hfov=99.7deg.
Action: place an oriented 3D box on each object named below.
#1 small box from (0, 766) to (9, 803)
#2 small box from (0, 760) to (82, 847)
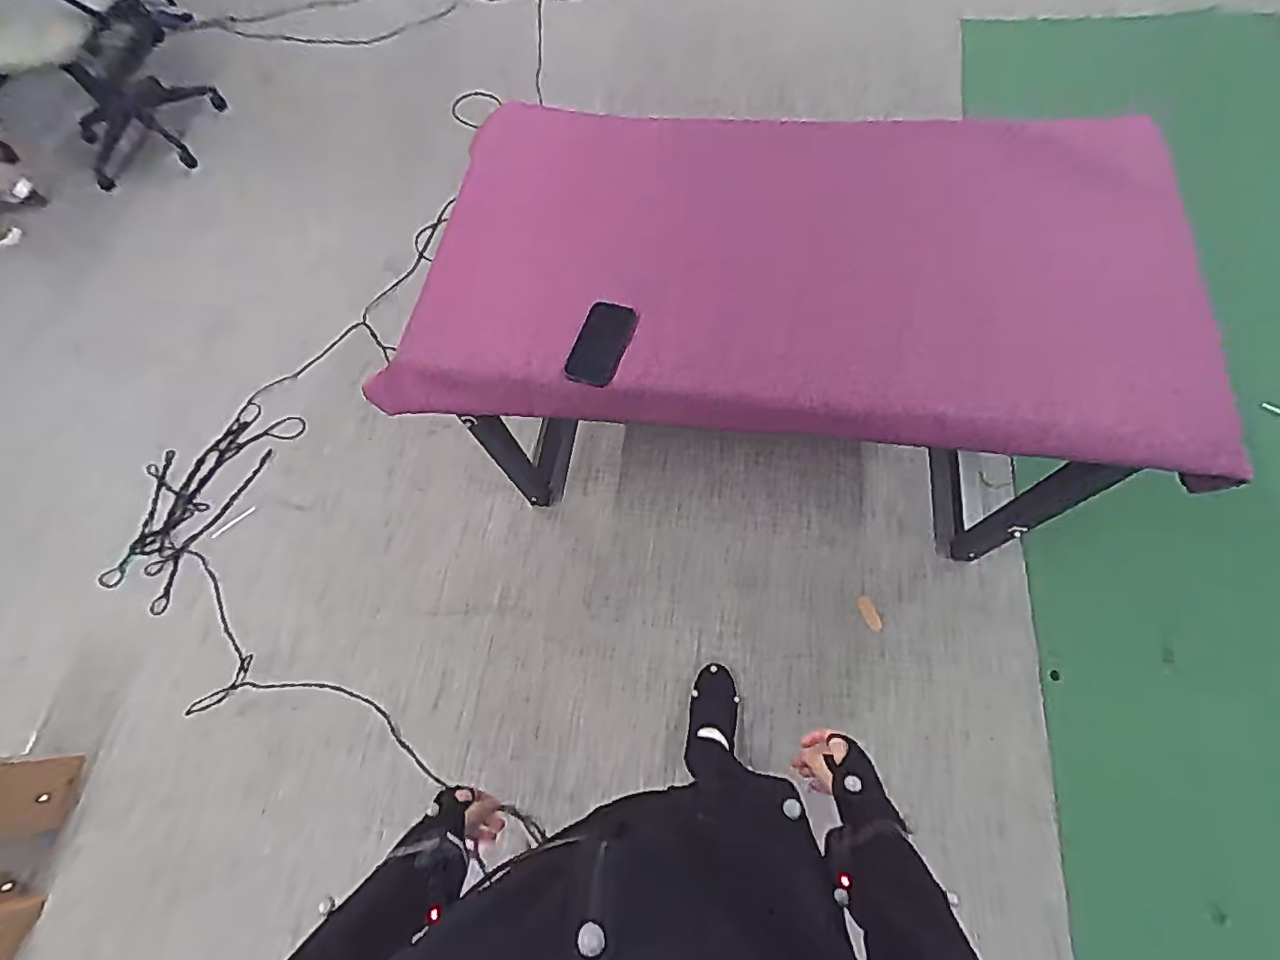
[{"bbox_3d":[-1.529,0.718,1.148,0.168,0.176,0.179,-5,67,3],"label":"small box"},{"bbox_3d":[-1.526,0.774,1.301,0.179,0.176,0.168,-2,67,6],"label":"small box"}]
